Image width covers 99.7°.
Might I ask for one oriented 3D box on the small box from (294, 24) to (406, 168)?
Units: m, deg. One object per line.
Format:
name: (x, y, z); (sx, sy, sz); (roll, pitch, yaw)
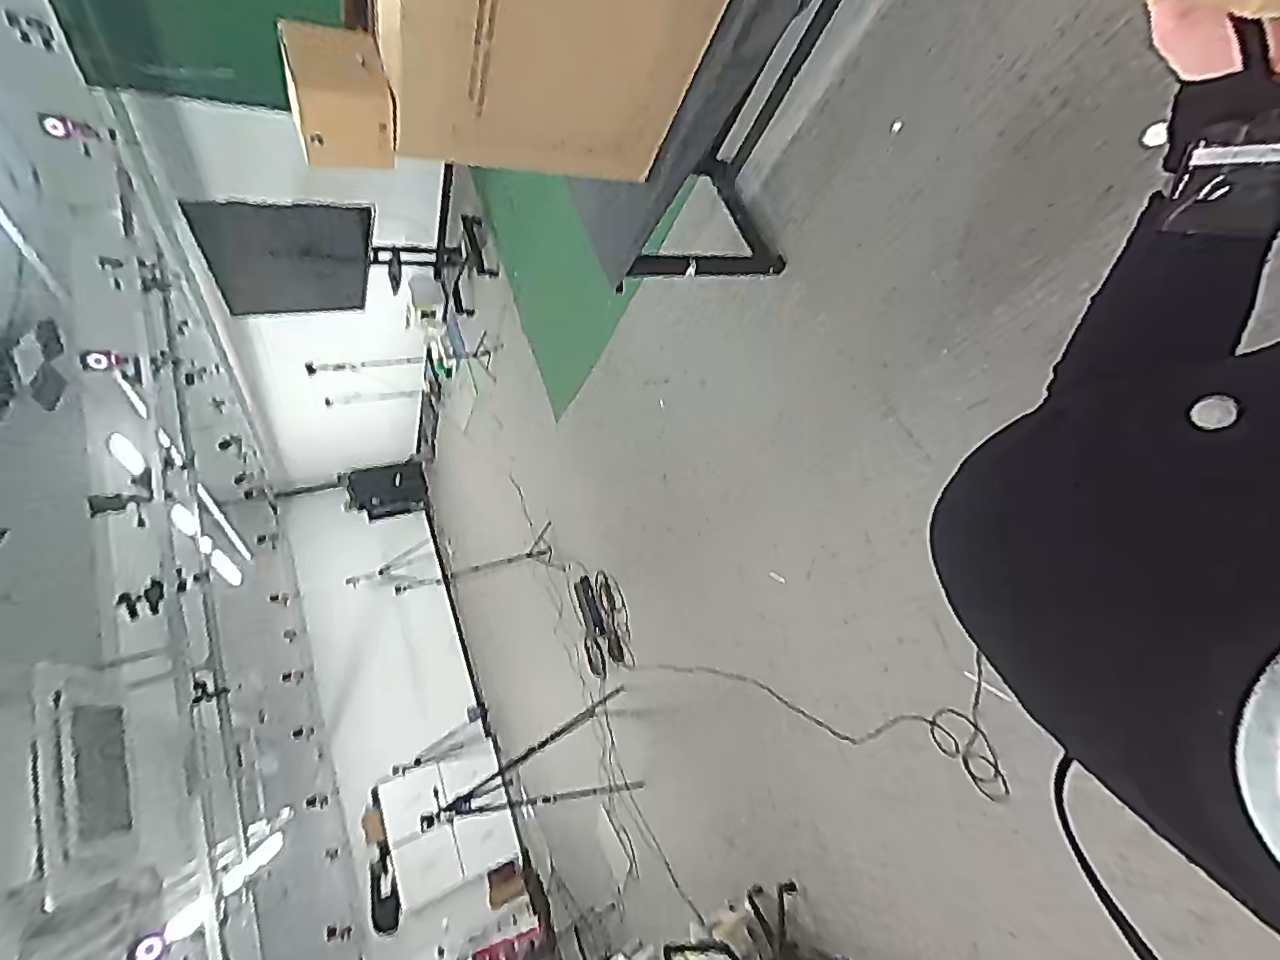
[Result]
small box: (-0.585, -0.768, 1.104); (0.168, 0.176, 0.179); (-45, 61, 59)

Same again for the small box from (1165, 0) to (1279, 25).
small box: (0.319, -0.276, 0.173); (0.179, 0.176, 0.168); (3, 131, 27)
